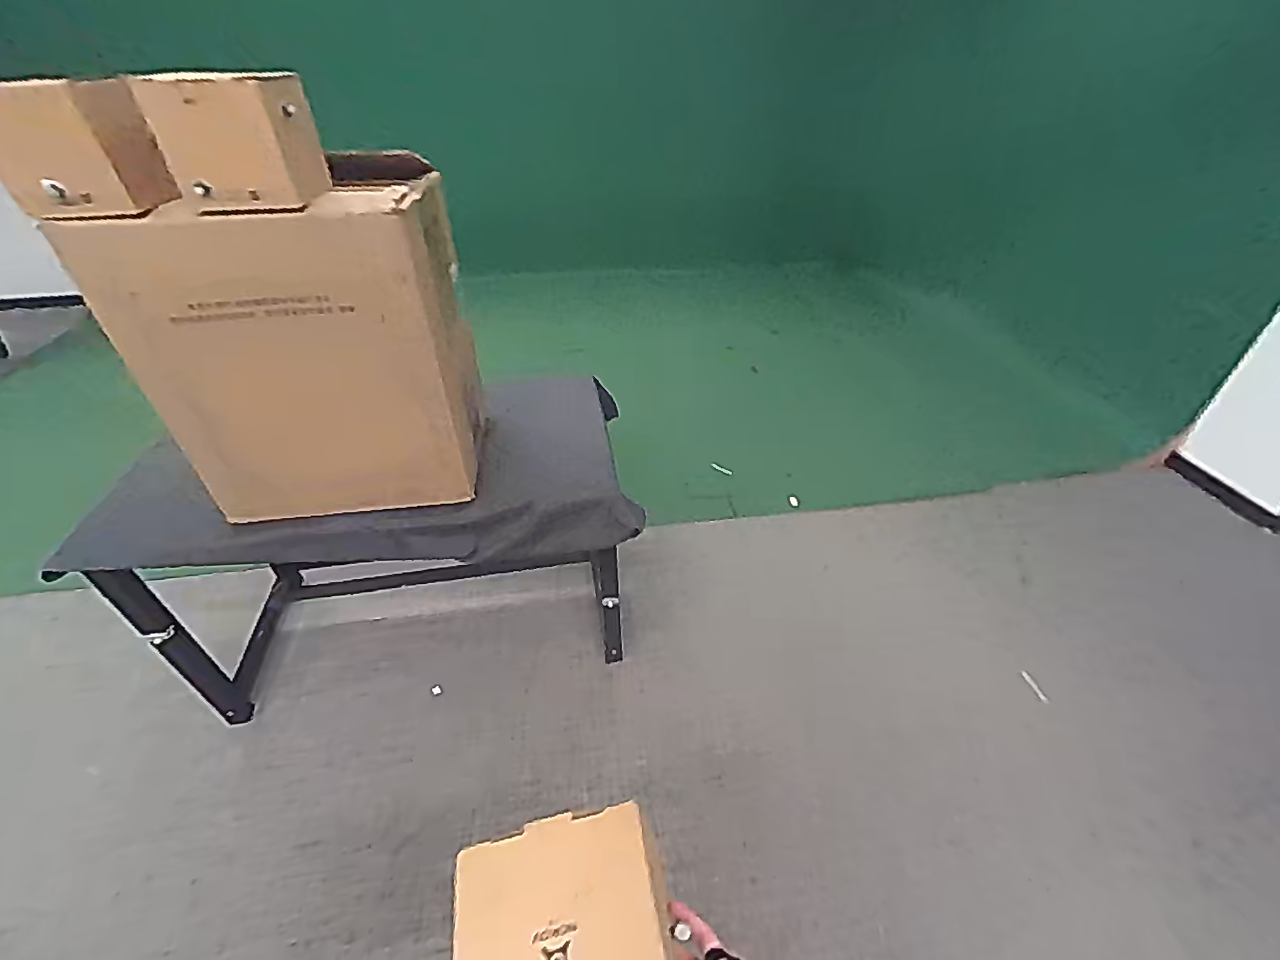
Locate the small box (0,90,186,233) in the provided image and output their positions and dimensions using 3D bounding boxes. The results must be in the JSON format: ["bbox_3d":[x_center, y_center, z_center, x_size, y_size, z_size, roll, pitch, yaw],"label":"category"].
[{"bbox_3d":[-0.863,-0.495,0.840,0.168,0.176,0.179,-7,40,-4],"label":"small box"}]

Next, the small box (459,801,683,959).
[{"bbox_3d":[-0.052,0.425,0.479,0.168,0.176,0.179,-15,45,-4],"label":"small box"}]

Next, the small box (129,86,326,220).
[{"bbox_3d":[-0.634,-0.521,0.864,0.168,0.176,0.179,-5,38,-7],"label":"small box"}]
